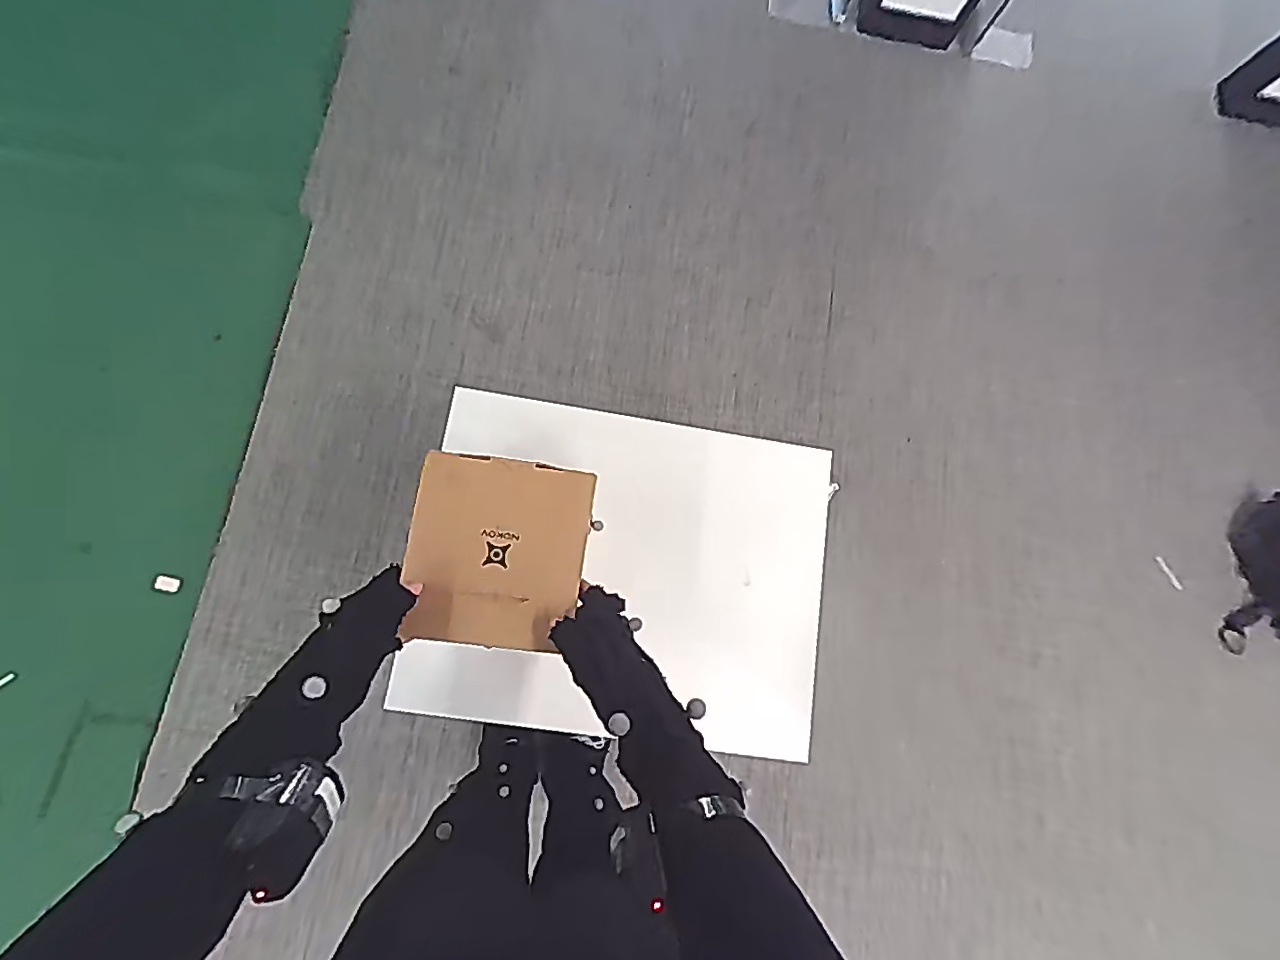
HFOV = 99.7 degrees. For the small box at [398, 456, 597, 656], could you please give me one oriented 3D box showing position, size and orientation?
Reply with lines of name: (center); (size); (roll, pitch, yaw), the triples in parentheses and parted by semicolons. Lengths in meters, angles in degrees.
small box: (-0.140, 0.083, 0.591); (0.168, 0.176, 0.179); (6, 80, -4)
